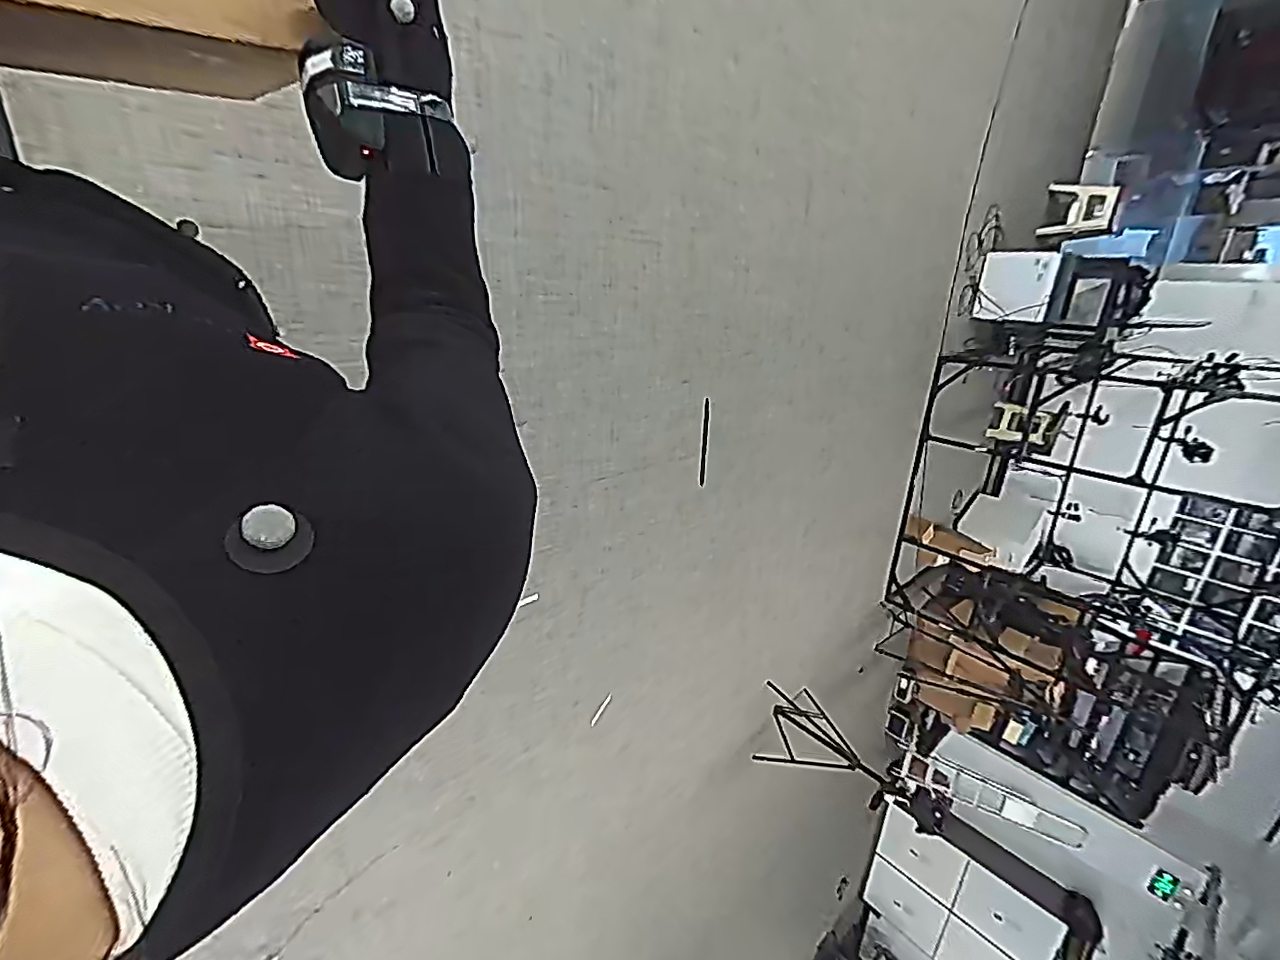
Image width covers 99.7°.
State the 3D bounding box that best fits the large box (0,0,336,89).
[{"bbox_3d":[-0.442,-0.420,0.266,0.408,0.320,0.320,-20,127,-38],"label":"large box"}]
